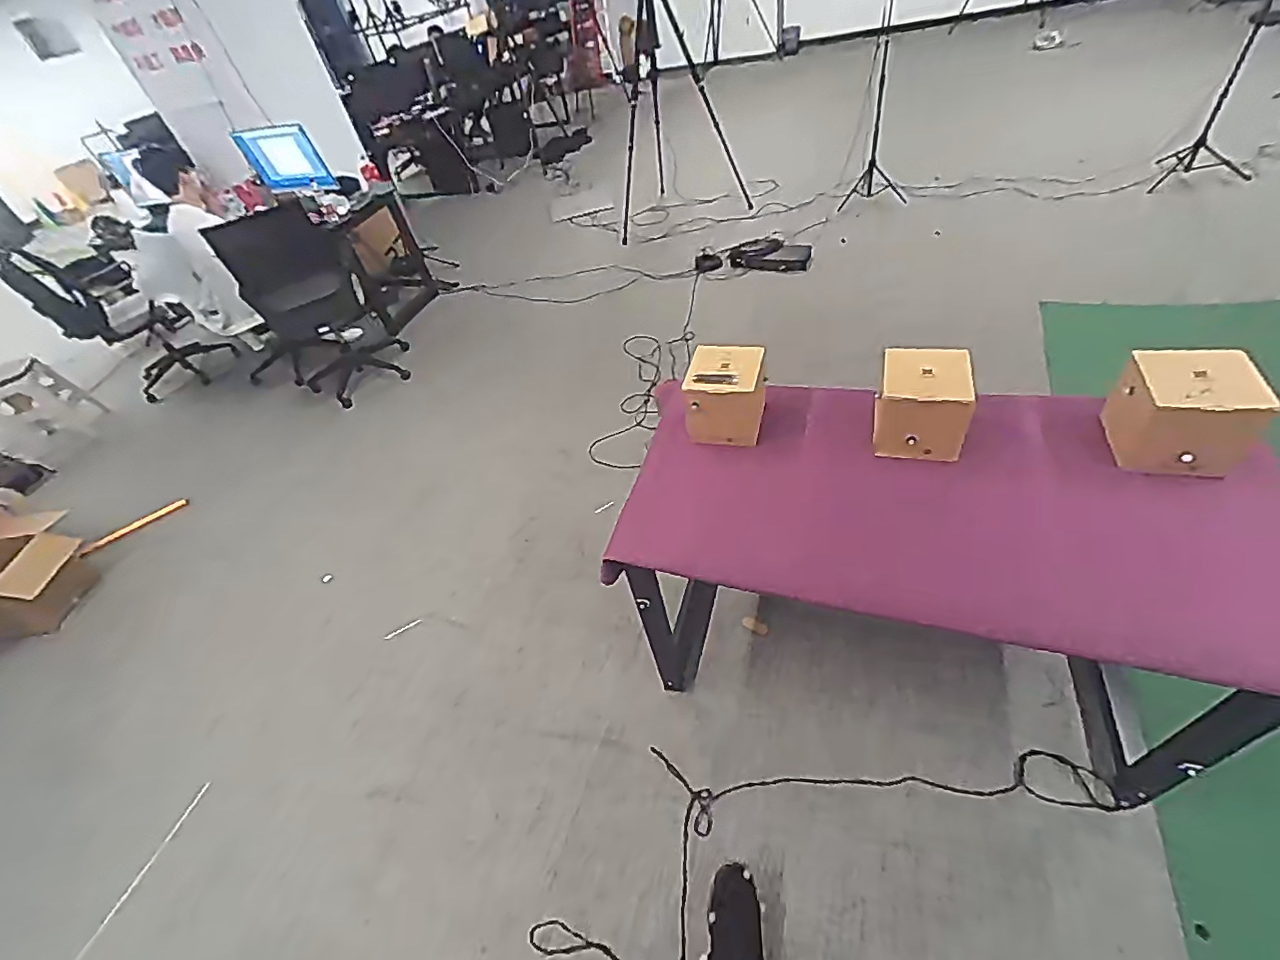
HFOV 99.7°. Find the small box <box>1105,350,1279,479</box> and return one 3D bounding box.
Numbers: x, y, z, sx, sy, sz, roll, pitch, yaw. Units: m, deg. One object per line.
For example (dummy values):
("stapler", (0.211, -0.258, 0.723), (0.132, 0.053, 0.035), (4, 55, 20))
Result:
("small box", (1.026, -0.127, 1.026), (0.168, 0.176, 0.179), (5, 49, 22))

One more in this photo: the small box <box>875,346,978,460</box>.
("small box", (0.610, -0.168, 1.171), (0.168, 0.176, 0.179), (7, 50, 19))
